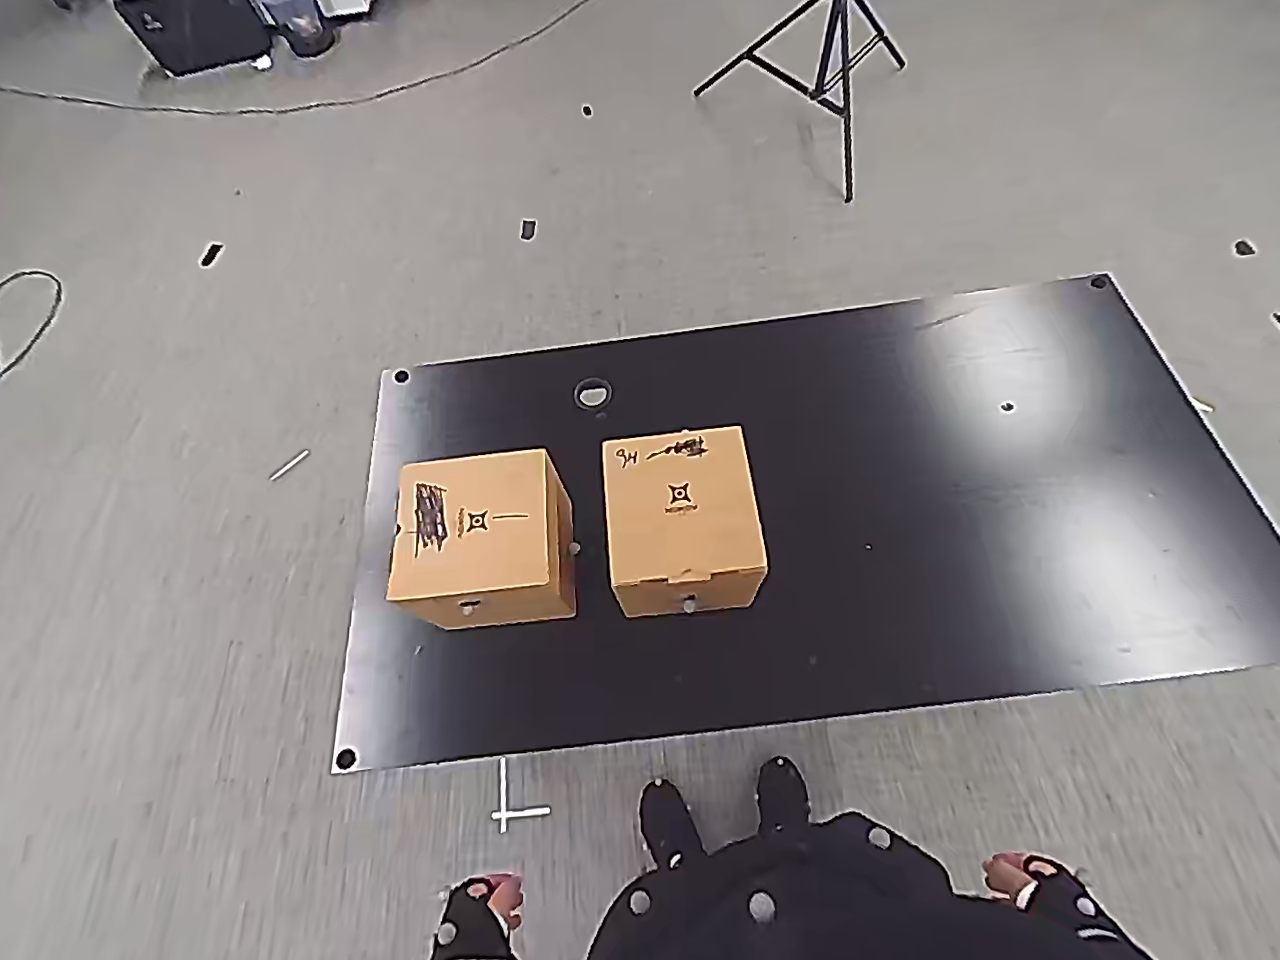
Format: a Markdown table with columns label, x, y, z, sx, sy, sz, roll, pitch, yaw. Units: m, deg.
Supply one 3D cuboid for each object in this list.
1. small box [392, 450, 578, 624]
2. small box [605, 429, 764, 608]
| label | x | y | z | sx | sy | sz | roll | pitch | yaw |
| --- | --- | --- | --- | --- | --- | --- | --- | --- | --- |
| small box | -0.181 | 0.080 | 0.682 | 0.179 | 0.176 | 0.168 | -6 | 65 | 1 |
| small box | 0.050 | 0.058 | 0.672 | 0.168 | 0.176 | 0.179 | -5 | 65 | 1 |
